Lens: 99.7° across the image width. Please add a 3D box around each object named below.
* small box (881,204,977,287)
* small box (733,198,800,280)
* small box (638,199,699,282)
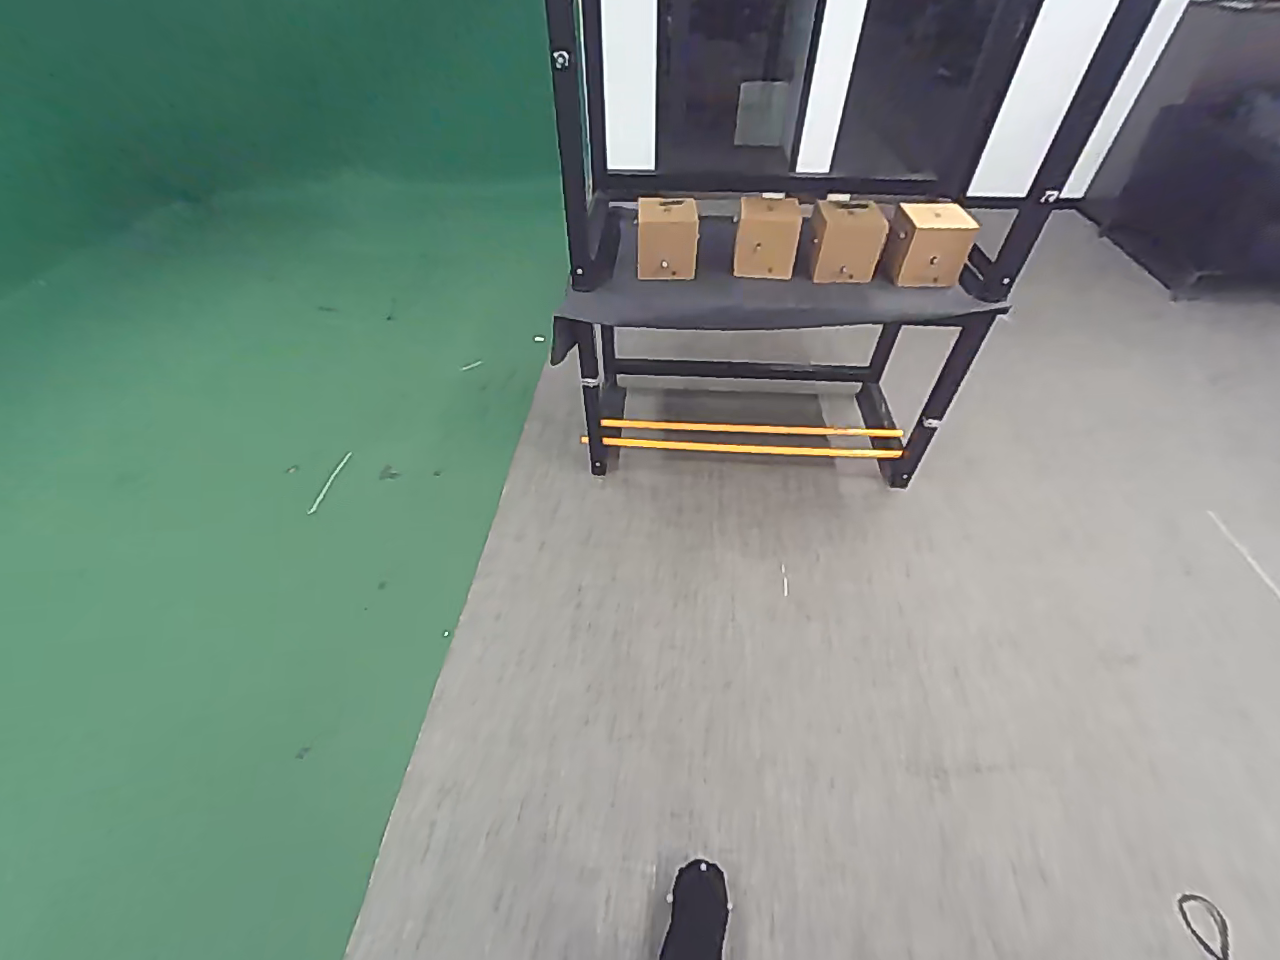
[{"bbox_3d":[0.810,-0.663,1.533,0.168,0.176,0.179,1,46,1],"label":"small box"},{"bbox_3d":[0.366,-0.702,1.578,0.168,0.176,0.179,5,47,5],"label":"small box"},{"bbox_3d":[0.077,-0.697,1.571,0.168,0.176,0.179,0,47,0],"label":"small box"}]
